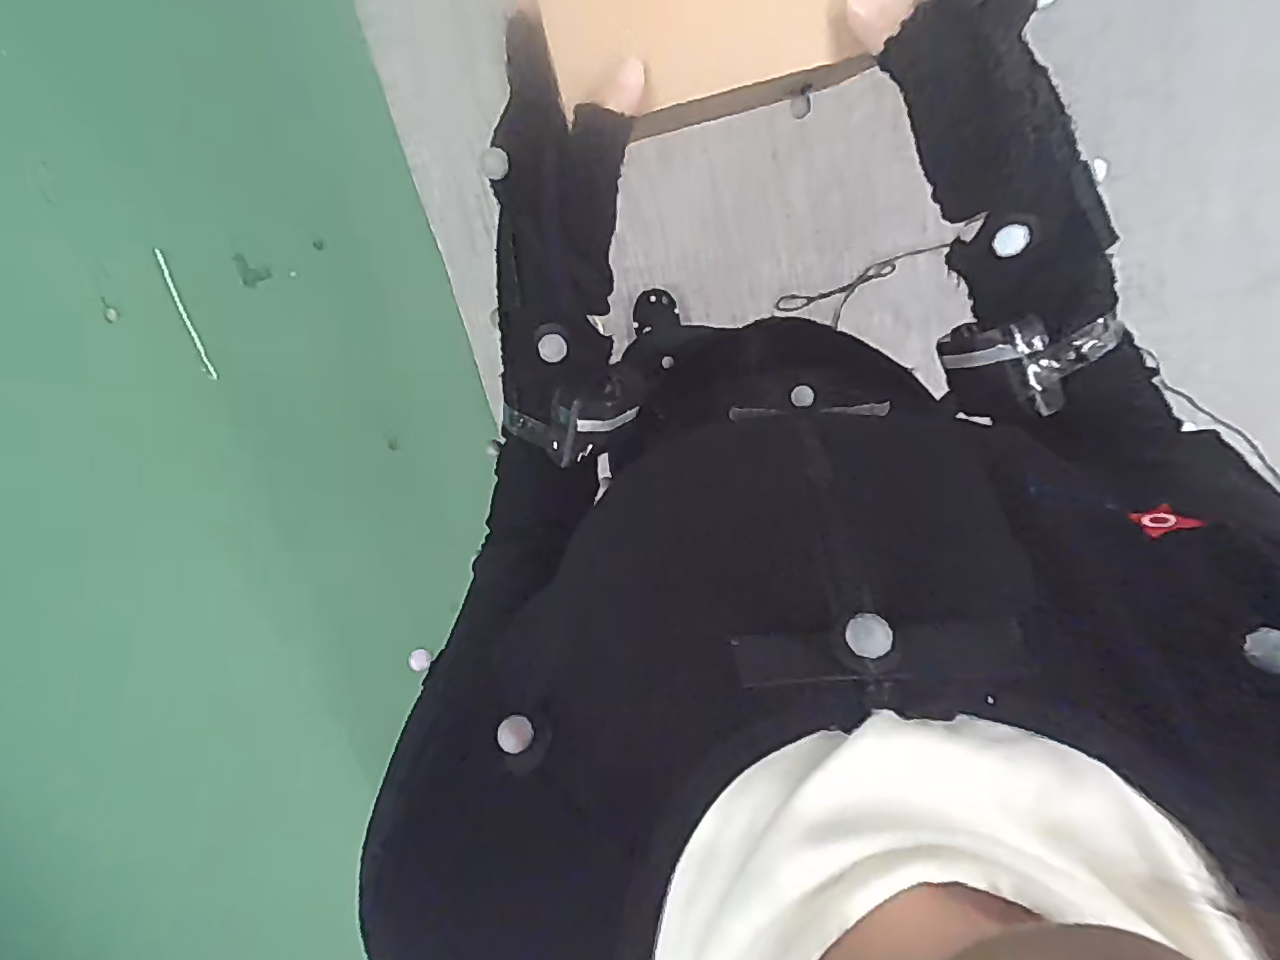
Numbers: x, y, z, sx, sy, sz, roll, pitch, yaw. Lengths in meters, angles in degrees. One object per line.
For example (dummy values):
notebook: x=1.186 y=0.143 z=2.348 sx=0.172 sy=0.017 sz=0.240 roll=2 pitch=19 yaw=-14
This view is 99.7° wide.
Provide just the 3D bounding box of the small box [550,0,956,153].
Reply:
small box: x=0.035 y=-0.292 z=0.285 sx=0.179 sy=0.176 sz=0.168 roll=-15 pitch=117 yaw=8

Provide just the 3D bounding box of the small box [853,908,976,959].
small box: x=0.457 y=0.829 z=0.869 sx=0.168 sy=0.176 sz=0.179 roll=-12 pitch=108 yaw=5
